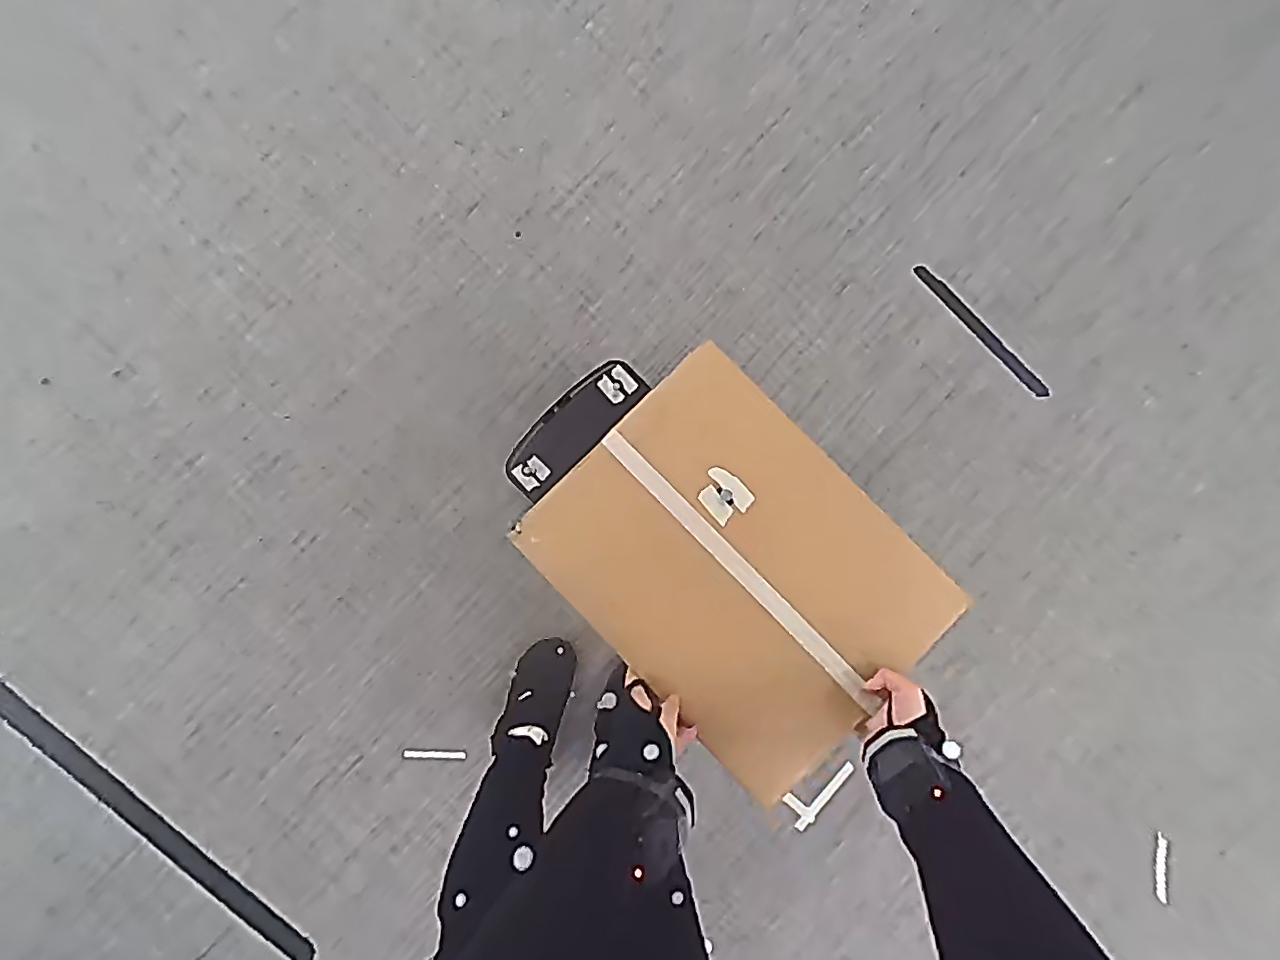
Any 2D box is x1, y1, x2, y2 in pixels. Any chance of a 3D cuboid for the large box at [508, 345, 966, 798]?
[{"bbox_3d":[0.106,0.103,0.727,0.320,0.320,0.408,-45,86,-3],"label":"large box"}]
